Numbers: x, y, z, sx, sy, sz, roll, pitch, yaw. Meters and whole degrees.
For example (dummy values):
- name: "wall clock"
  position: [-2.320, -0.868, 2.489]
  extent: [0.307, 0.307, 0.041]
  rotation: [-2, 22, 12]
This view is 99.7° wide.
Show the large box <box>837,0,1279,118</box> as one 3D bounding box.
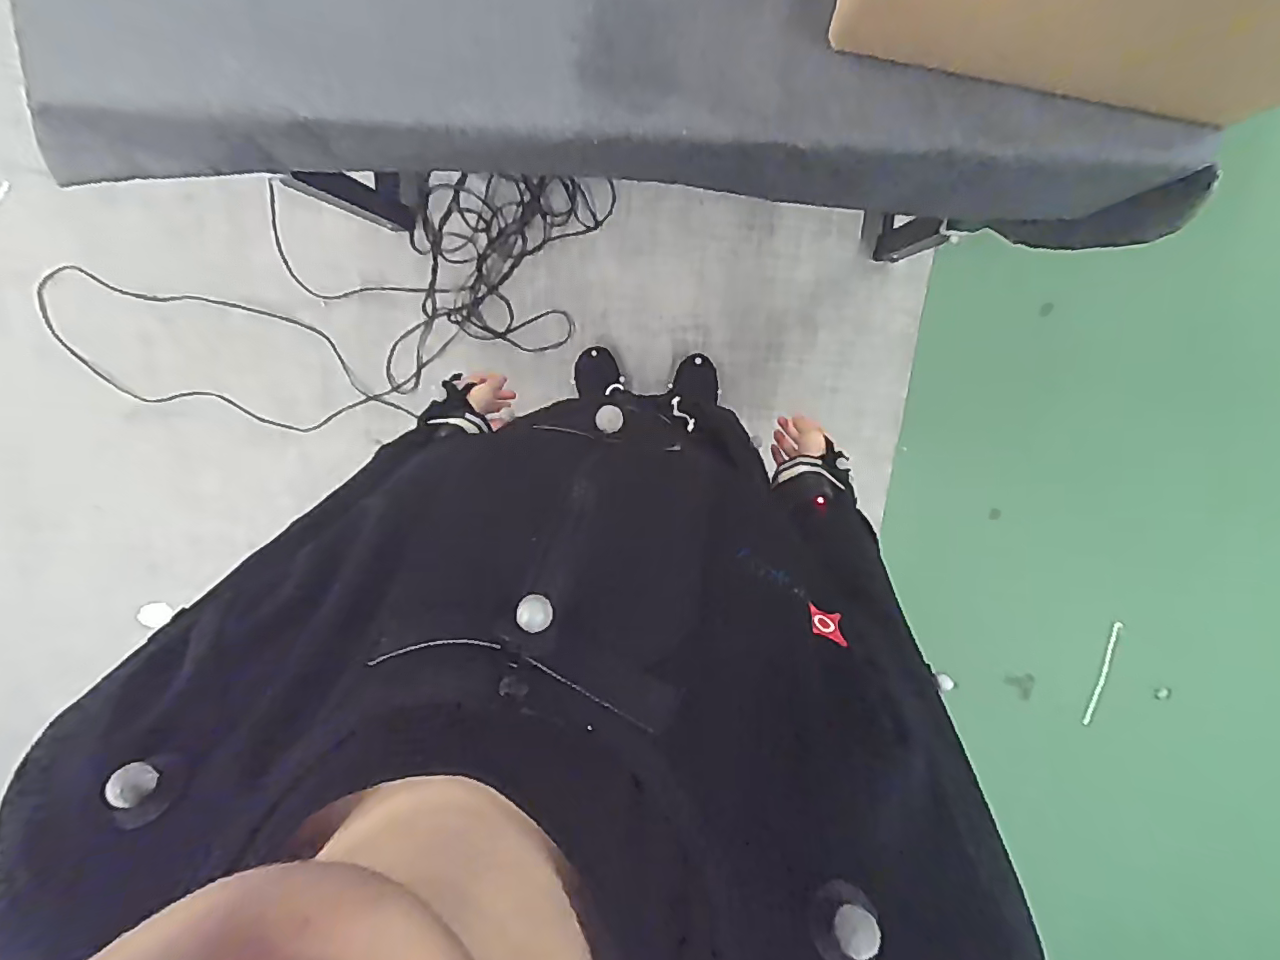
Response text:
- name: "large box"
  position: [0.400, -0.494, 0.347]
  extent: [0.408, 0.320, 0.320]
  rotation: [10, 104, -1]
